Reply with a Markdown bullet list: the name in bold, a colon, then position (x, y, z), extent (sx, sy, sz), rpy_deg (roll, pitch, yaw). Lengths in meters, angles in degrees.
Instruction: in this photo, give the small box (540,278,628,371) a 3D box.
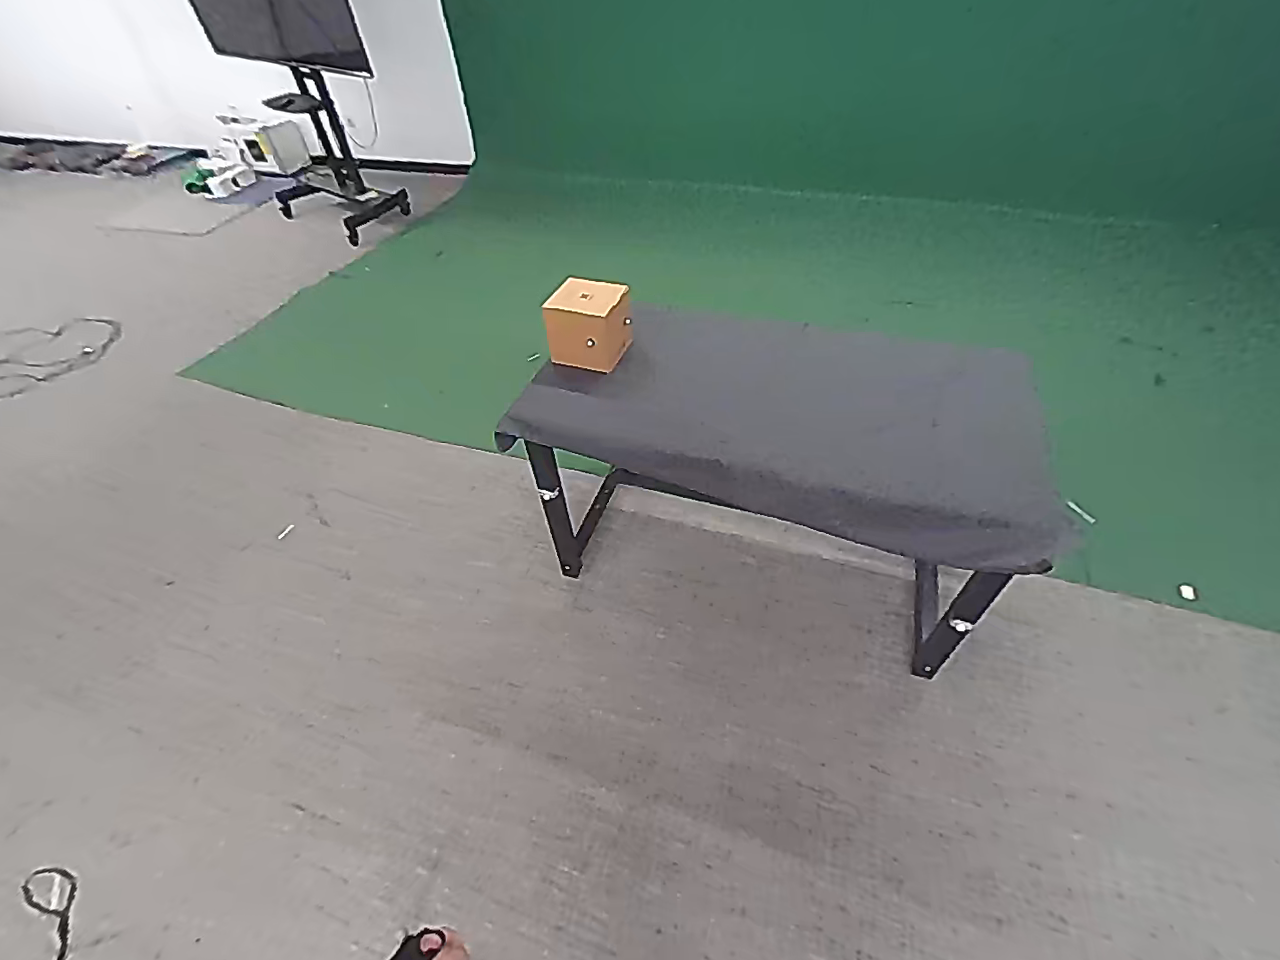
- **small box**: position (-0.138, -0.410, 1.433), extent (0.179, 0.176, 0.168), rpy_deg (15, 47, 17)
